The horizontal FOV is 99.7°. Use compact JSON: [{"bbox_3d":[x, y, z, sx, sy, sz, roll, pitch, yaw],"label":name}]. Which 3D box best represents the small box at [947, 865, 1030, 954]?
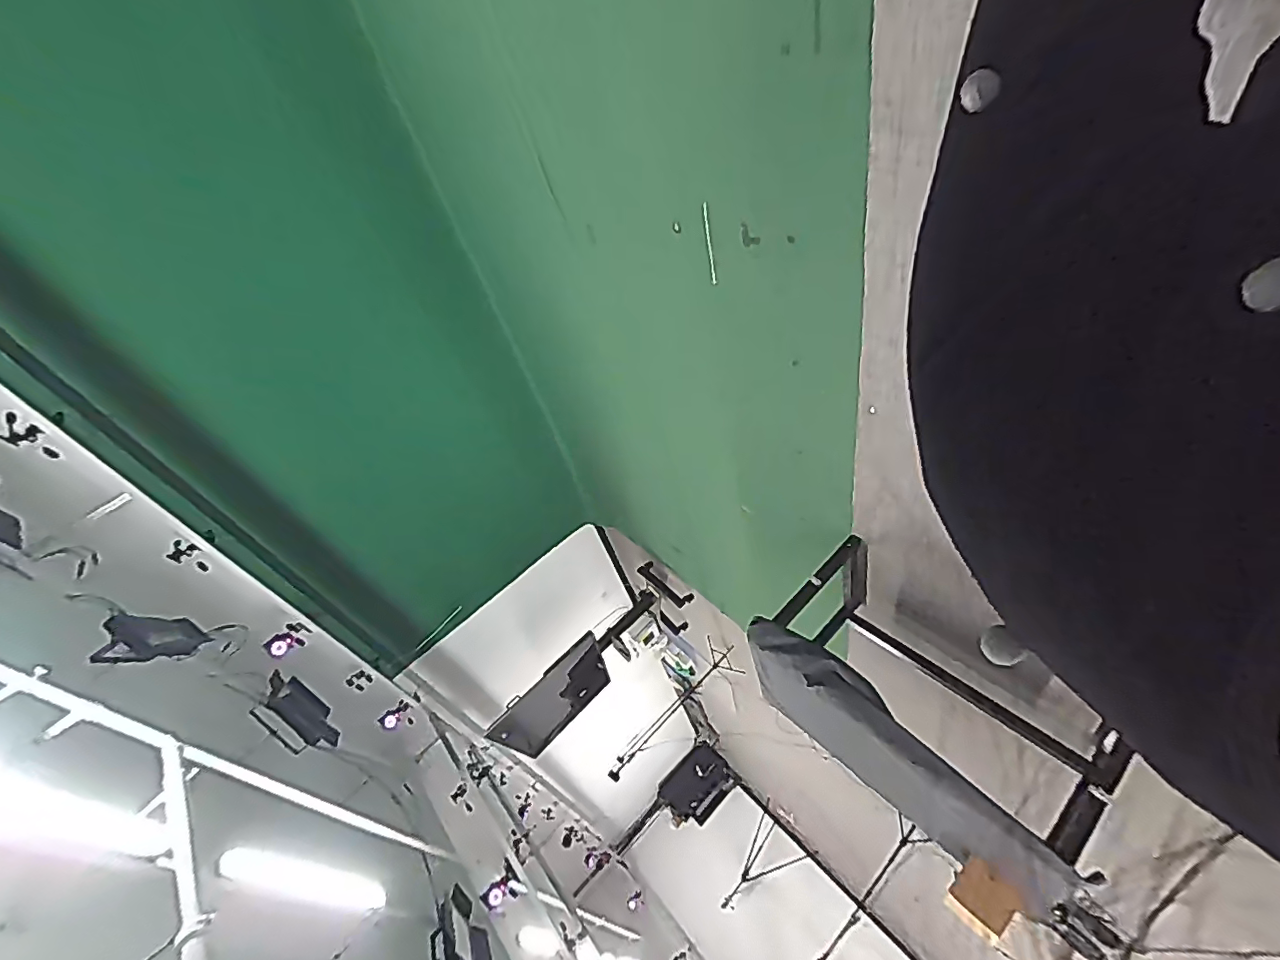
[{"bbox_3d":[1.208,1.482,1.880,0.179,0.176,0.168,33,153,42],"label":"small box"}]
